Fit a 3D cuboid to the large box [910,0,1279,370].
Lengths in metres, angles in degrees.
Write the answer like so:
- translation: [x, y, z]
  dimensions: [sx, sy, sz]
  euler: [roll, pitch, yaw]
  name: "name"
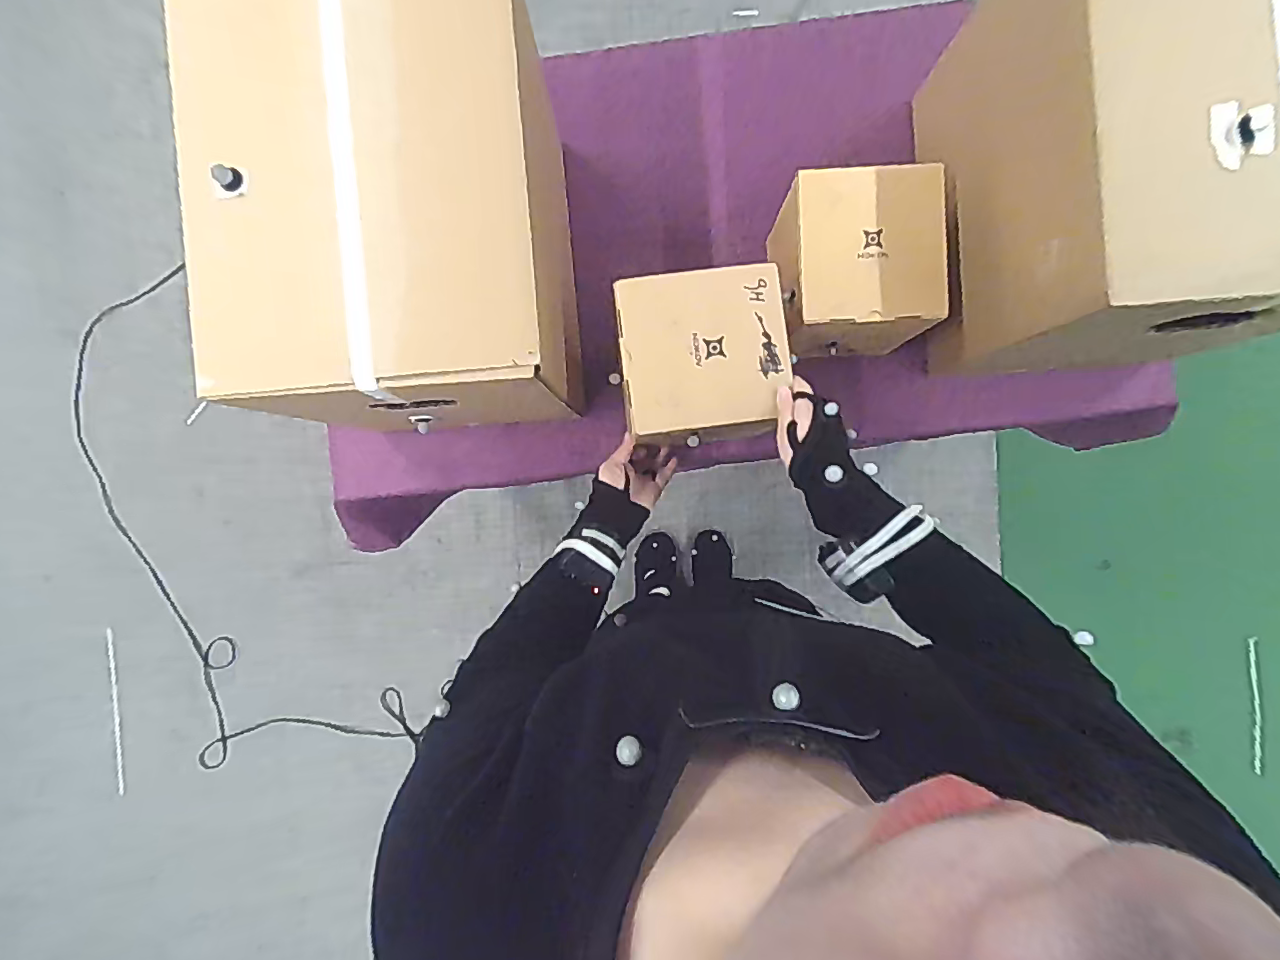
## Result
- translation: [0.546, -0.362, 0.622]
  dimensions: [0.320, 0.320, 0.408]
  euler: [-3, 91, 1]
  name: "large box"
